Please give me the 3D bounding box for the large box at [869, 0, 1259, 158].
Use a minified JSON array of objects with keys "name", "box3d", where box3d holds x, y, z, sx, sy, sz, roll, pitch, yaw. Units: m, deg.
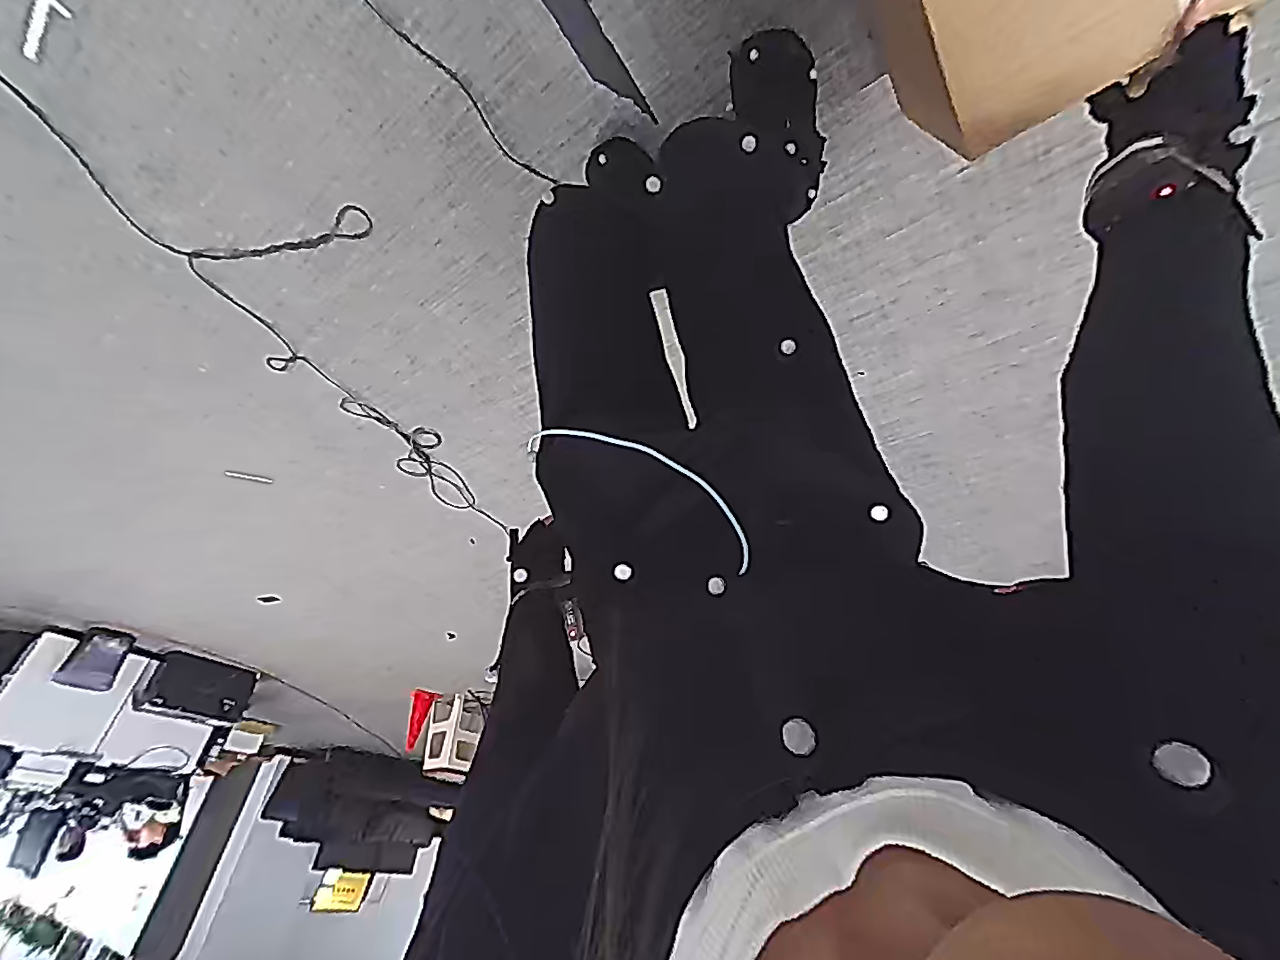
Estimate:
[{"name":"large box","box3d":[0.347,-0.578,0.455,0.320,0.320,0.408,-23,121,27]}]
